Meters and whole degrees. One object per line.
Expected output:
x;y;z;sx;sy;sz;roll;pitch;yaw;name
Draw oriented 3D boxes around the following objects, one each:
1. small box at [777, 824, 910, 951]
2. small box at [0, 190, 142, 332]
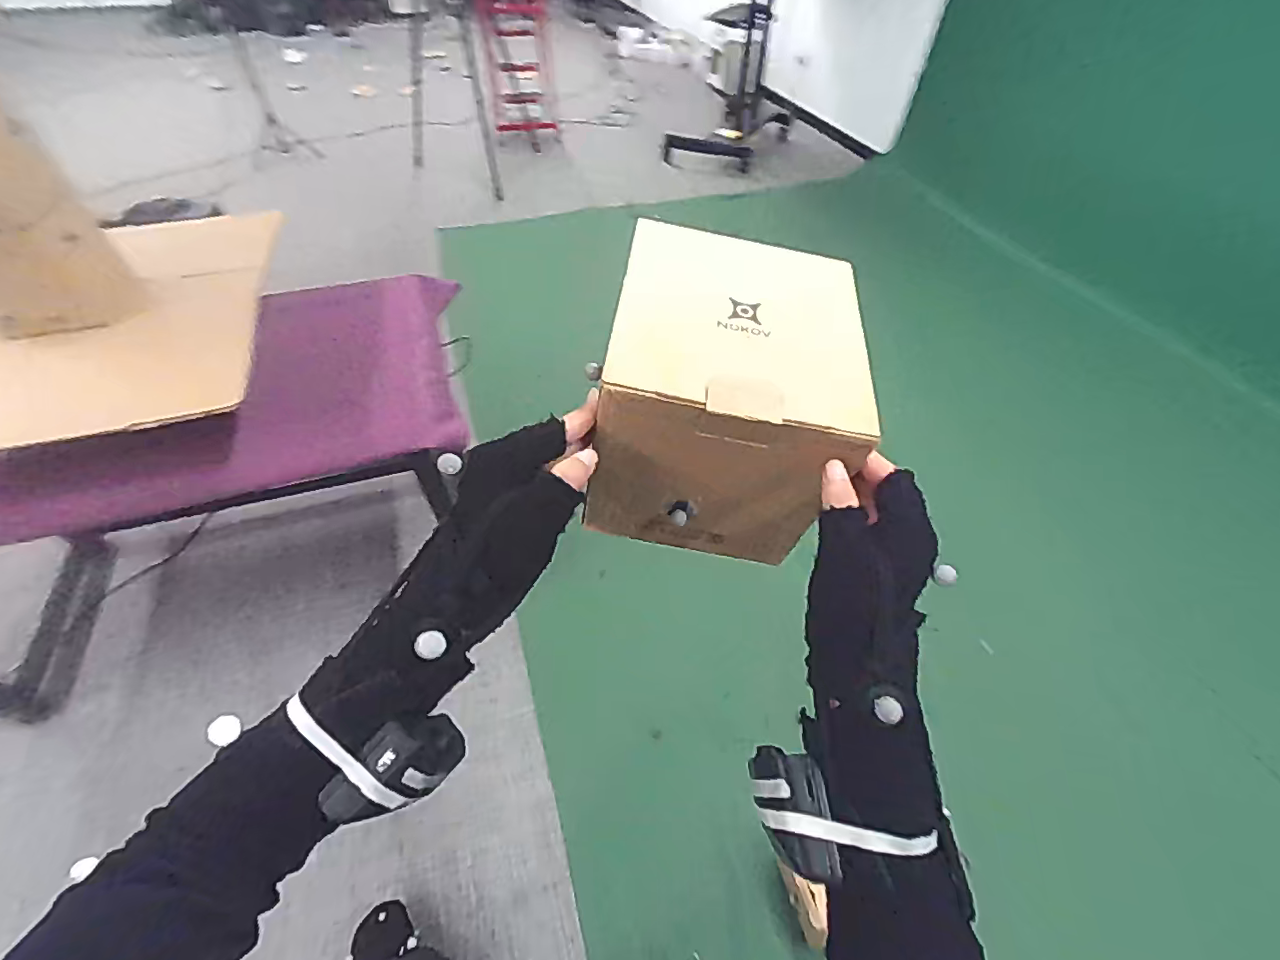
0.408;0.838;1.117;0.179;0.176;0.168;-12;51;-11;small box
-1.015;-0.368;0.925;0.168;0.176;0.179;-12;49;-11;small box
